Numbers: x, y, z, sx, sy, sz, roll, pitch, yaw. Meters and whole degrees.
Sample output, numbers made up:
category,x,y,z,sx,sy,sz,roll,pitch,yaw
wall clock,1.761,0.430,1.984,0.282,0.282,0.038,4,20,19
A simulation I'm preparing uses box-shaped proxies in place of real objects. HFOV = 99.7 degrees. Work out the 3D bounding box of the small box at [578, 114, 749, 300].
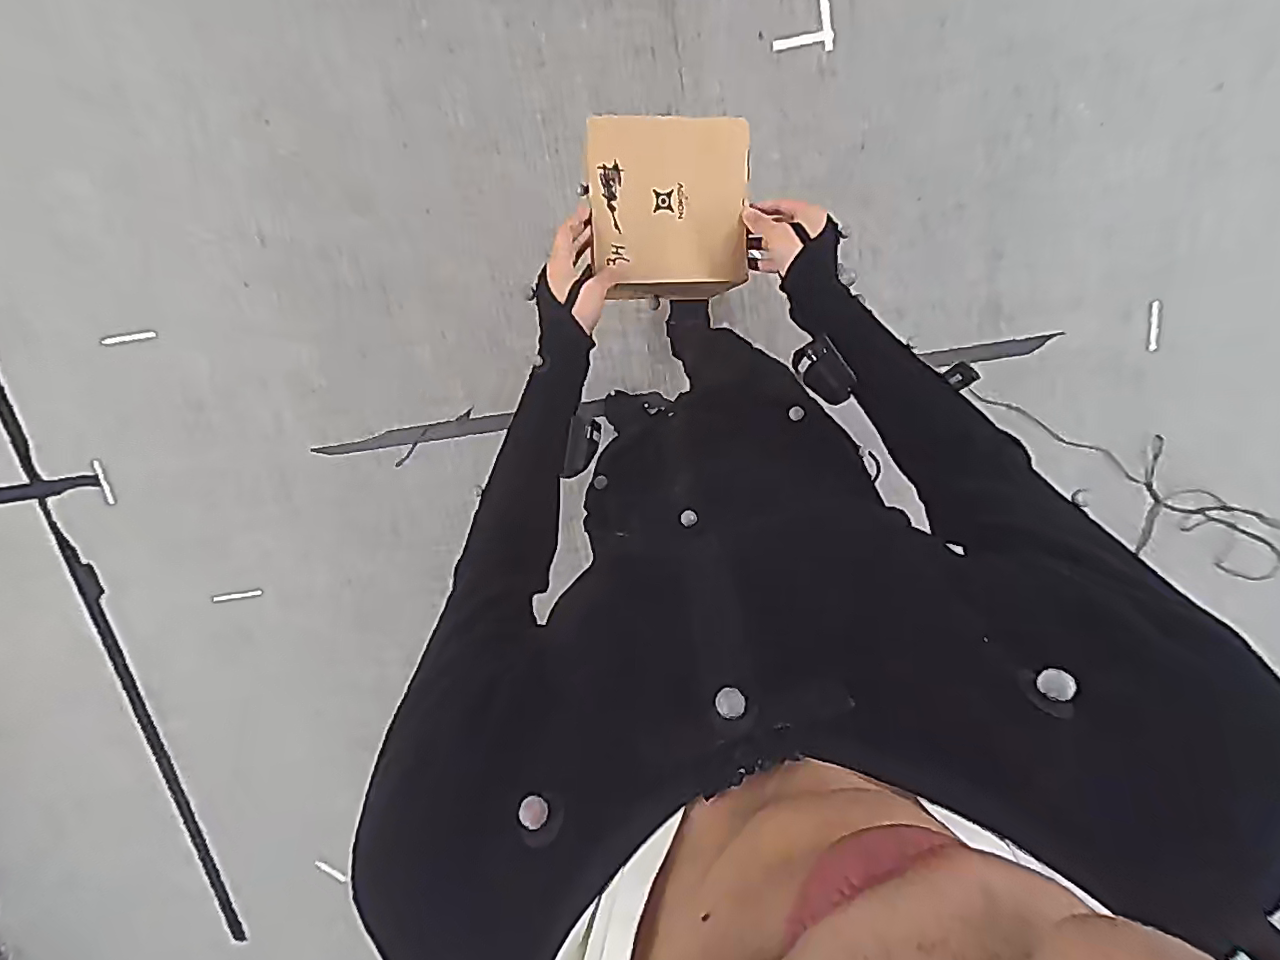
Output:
category,x,y,z,sx,sy,sz,roll,pitch,yaw
small box,0.019,-0.314,0.656,0.179,0.176,0.168,-4,103,-8
